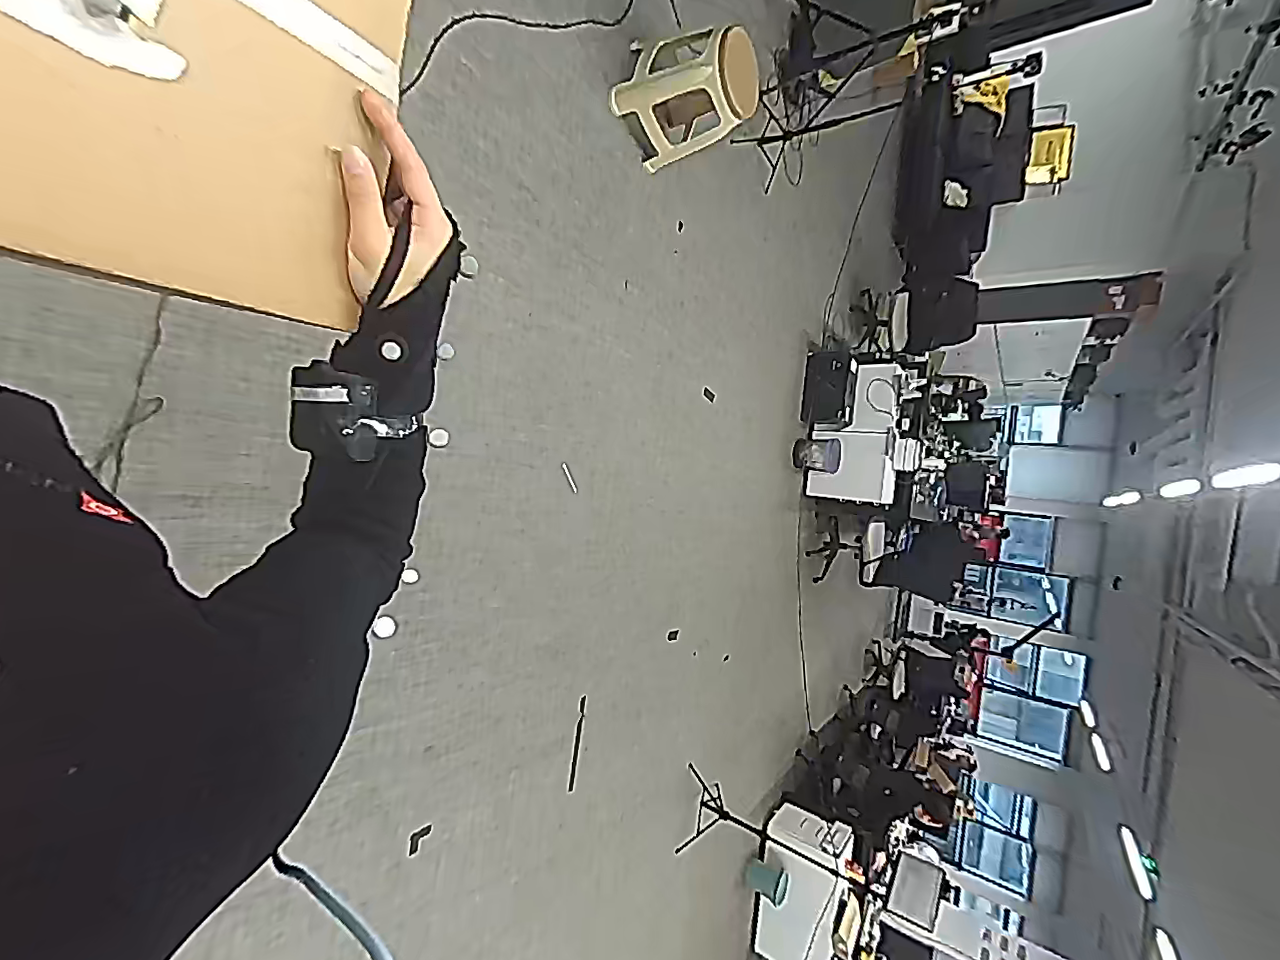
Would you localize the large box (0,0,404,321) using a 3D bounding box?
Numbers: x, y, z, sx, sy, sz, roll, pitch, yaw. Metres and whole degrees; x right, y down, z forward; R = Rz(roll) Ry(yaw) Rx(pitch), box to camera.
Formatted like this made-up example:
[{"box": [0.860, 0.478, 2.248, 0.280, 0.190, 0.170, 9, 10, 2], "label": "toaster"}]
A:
[{"box": [-0.394, -0.291, 0.263, 0.408, 0.320, 0.320, 0, 106, -58], "label": "large box"}]
